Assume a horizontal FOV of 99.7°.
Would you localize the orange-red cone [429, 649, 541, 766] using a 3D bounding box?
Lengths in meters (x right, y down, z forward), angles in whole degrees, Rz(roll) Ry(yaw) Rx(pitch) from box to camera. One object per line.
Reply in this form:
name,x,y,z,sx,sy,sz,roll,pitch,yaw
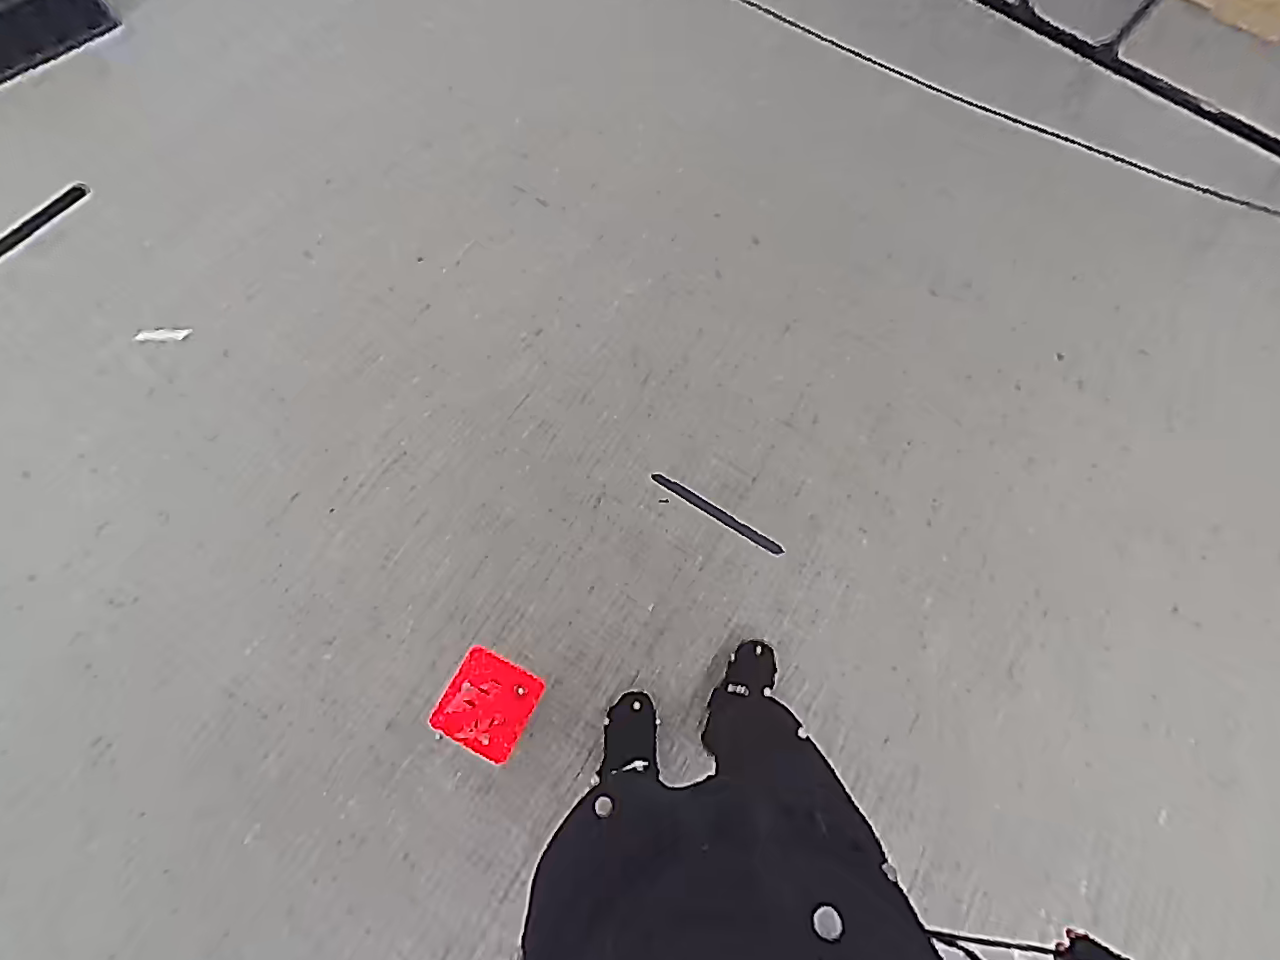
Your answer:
orange-red cone,-0.337,0.457,1.062,0.199,0.360,0.198,28,72,5
